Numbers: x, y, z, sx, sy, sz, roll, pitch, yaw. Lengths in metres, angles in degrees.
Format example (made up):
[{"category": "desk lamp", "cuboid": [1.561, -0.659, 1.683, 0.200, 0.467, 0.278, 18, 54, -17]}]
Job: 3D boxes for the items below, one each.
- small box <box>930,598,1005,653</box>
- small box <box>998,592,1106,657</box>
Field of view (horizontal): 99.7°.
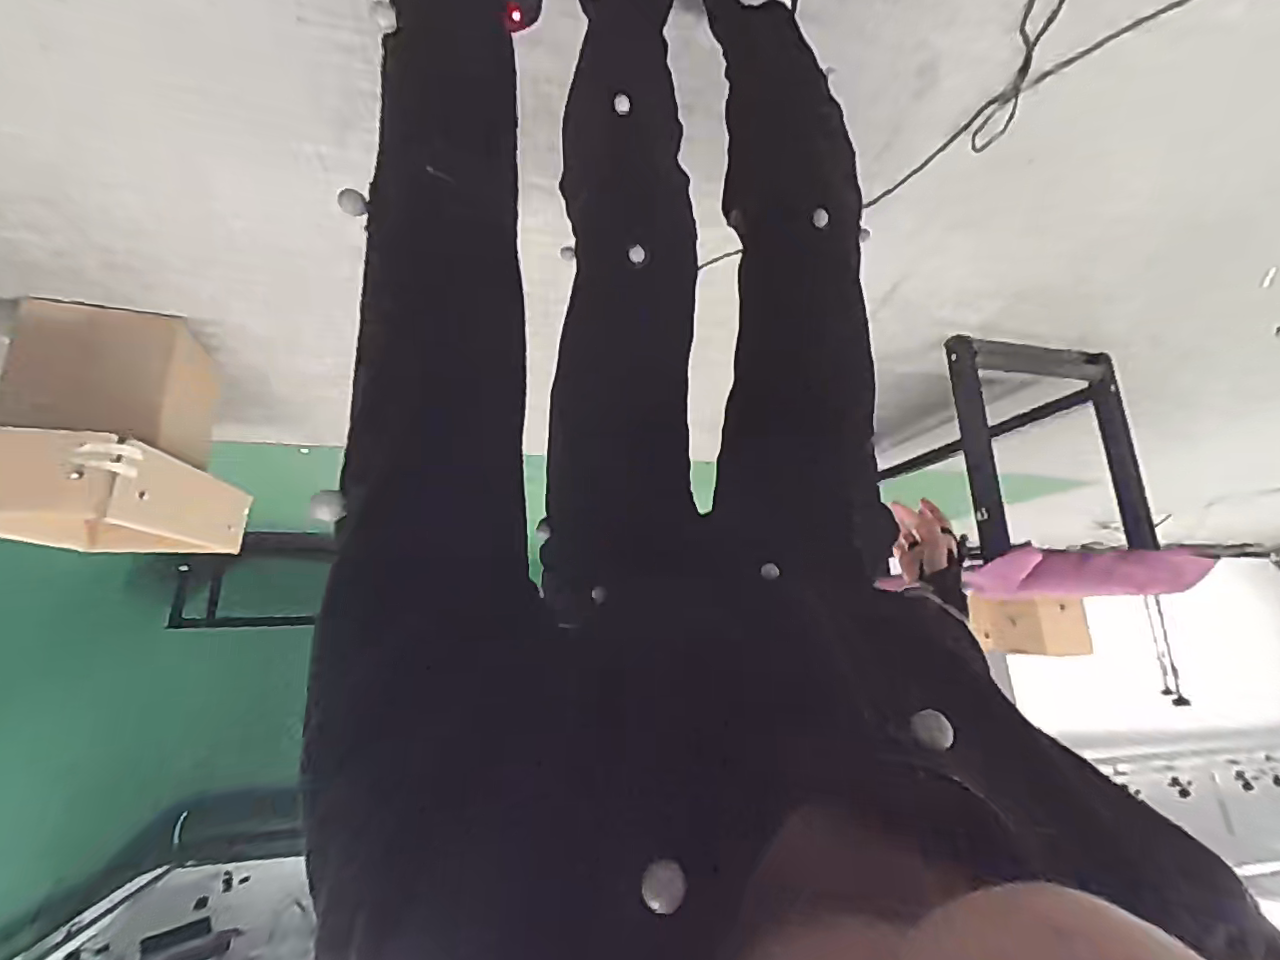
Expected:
[{"category": "small box", "cuboid": [1.099, 0.478, 1.791, 0.179, 0.176, 0.168, 2, 165, -9]}, {"category": "small box", "cuboid": [1.161, 0.411, 1.539, 0.179, 0.176, 0.168, 4, 165, -14]}]
